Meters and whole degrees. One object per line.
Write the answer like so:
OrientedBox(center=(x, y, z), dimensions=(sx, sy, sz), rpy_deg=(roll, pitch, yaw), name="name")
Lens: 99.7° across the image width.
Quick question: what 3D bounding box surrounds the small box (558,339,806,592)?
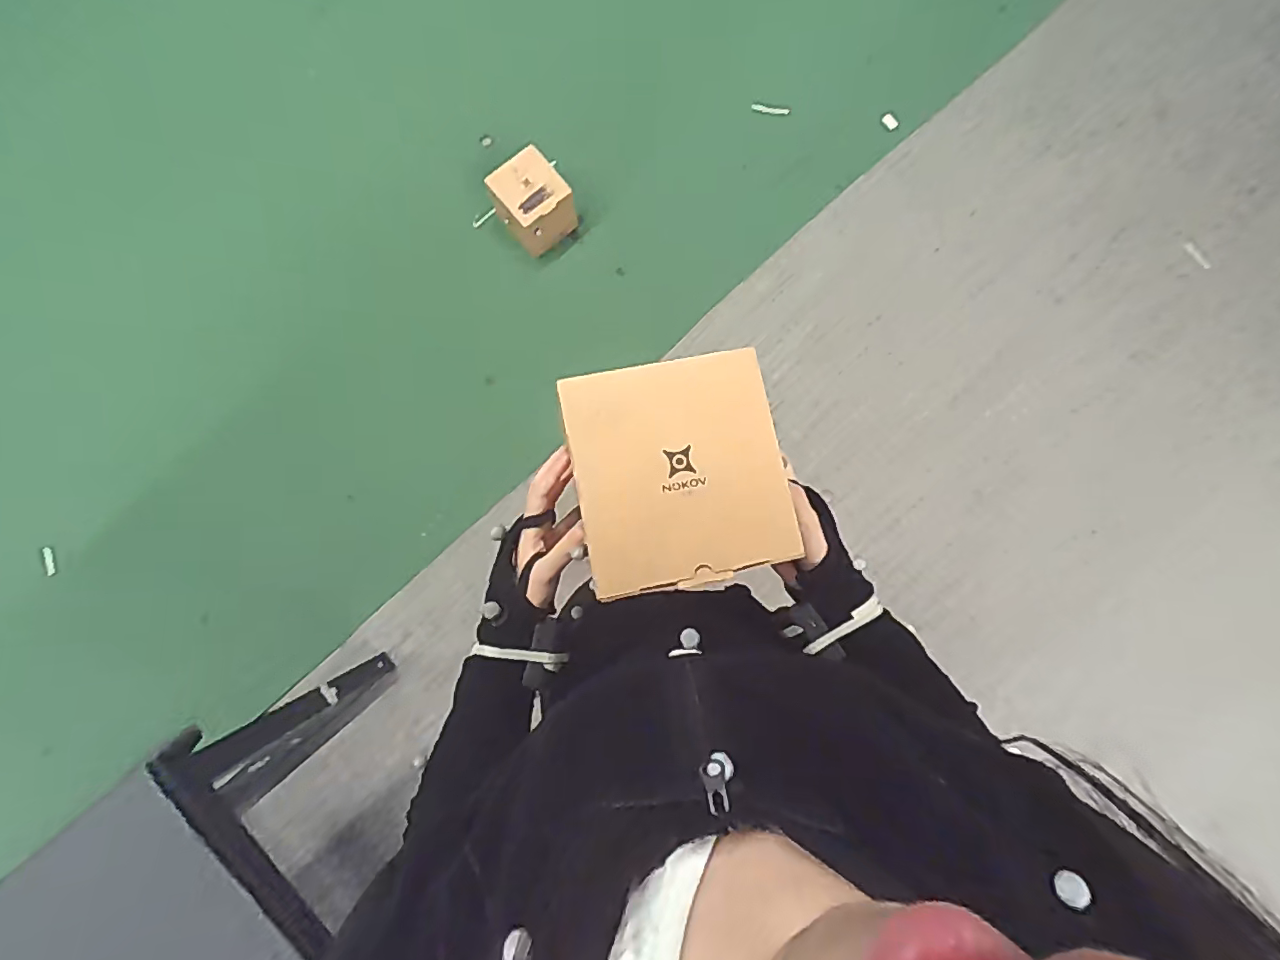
OrientedBox(center=(0.023, -0.003, 0.489), dimensions=(0.168, 0.176, 0.179), rpy_deg=(-11, 83, -7), name="small box")
